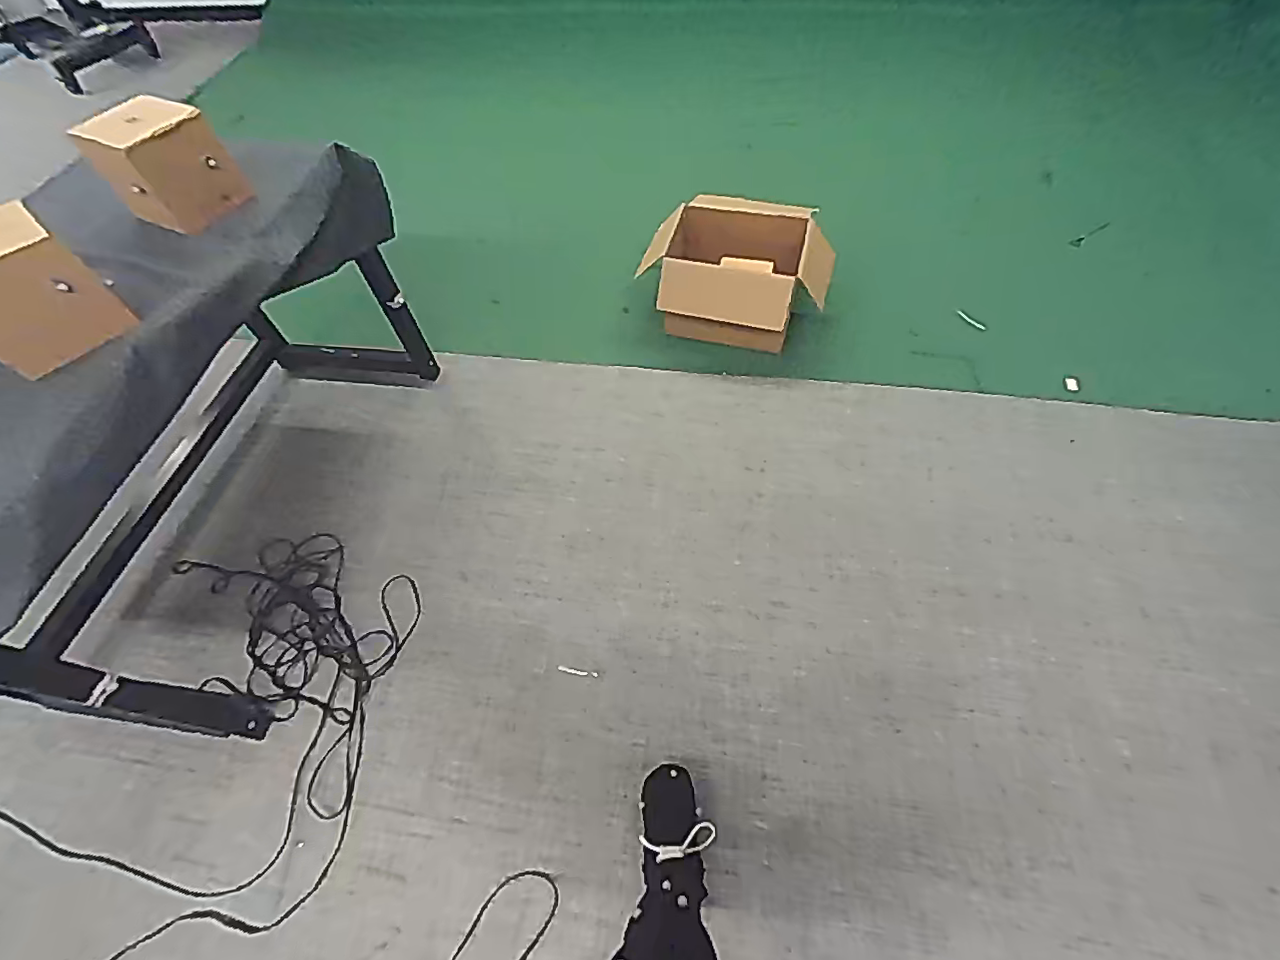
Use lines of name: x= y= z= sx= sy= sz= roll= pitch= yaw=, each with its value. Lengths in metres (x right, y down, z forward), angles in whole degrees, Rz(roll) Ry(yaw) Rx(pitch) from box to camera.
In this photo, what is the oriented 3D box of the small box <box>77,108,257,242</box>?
small box: x=-0.923 y=-0.601 z=1.075 sx=0.179 sy=0.176 sz=0.168 roll=21 pitch=59 yaw=18
